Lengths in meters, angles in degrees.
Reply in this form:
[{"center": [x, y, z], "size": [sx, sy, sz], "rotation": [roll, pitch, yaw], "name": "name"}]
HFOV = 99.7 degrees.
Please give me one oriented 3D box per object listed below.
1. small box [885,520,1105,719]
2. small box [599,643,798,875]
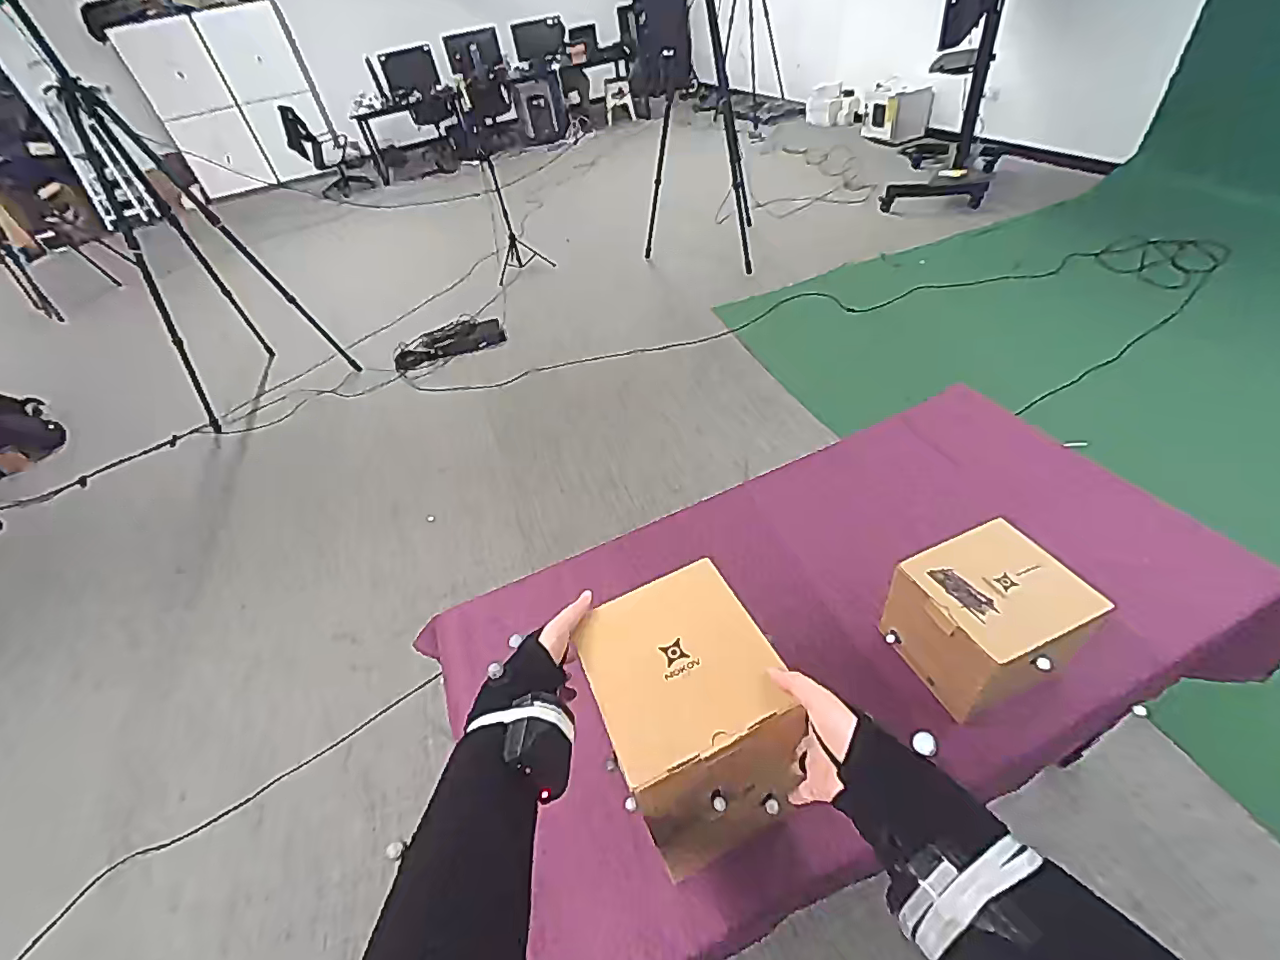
[{"center": [0.459, 0.191, 0.736], "size": [0.179, 0.176, 0.168], "rotation": [-21, 44, -10], "name": "small box"}, {"center": [0.070, 0.341, 0.664], "size": [0.179, 0.176, 0.168], "rotation": [-23, 43, -11], "name": "small box"}]
